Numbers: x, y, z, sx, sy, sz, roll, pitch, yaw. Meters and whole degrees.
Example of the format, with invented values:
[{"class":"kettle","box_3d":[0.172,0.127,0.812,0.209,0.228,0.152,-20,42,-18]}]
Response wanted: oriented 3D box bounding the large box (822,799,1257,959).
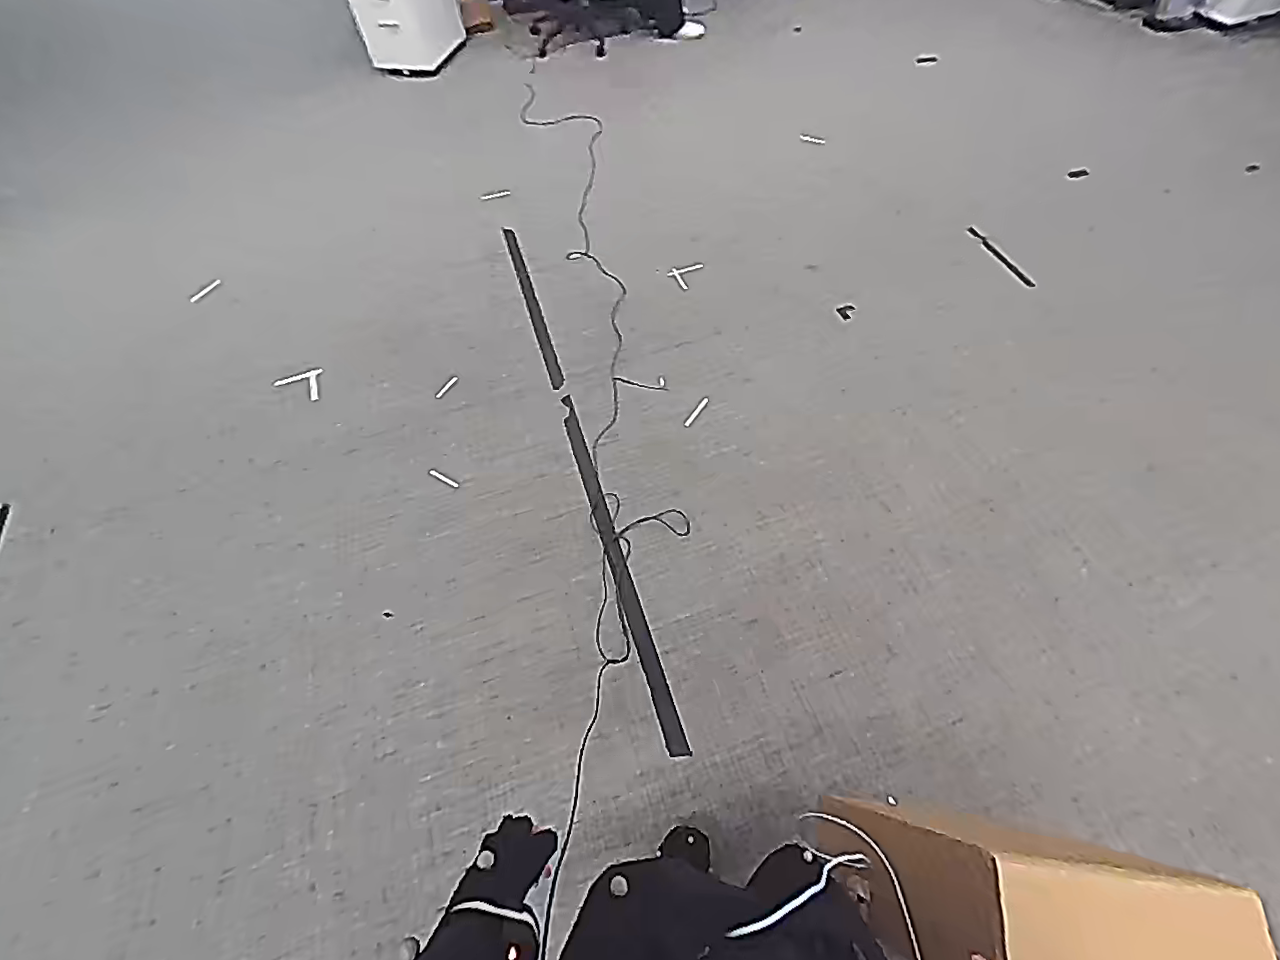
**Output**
[{"class":"large box","box_3d":[0.473,0.633,0.702,0.320,0.408,0.320,9,67,-3]}]
